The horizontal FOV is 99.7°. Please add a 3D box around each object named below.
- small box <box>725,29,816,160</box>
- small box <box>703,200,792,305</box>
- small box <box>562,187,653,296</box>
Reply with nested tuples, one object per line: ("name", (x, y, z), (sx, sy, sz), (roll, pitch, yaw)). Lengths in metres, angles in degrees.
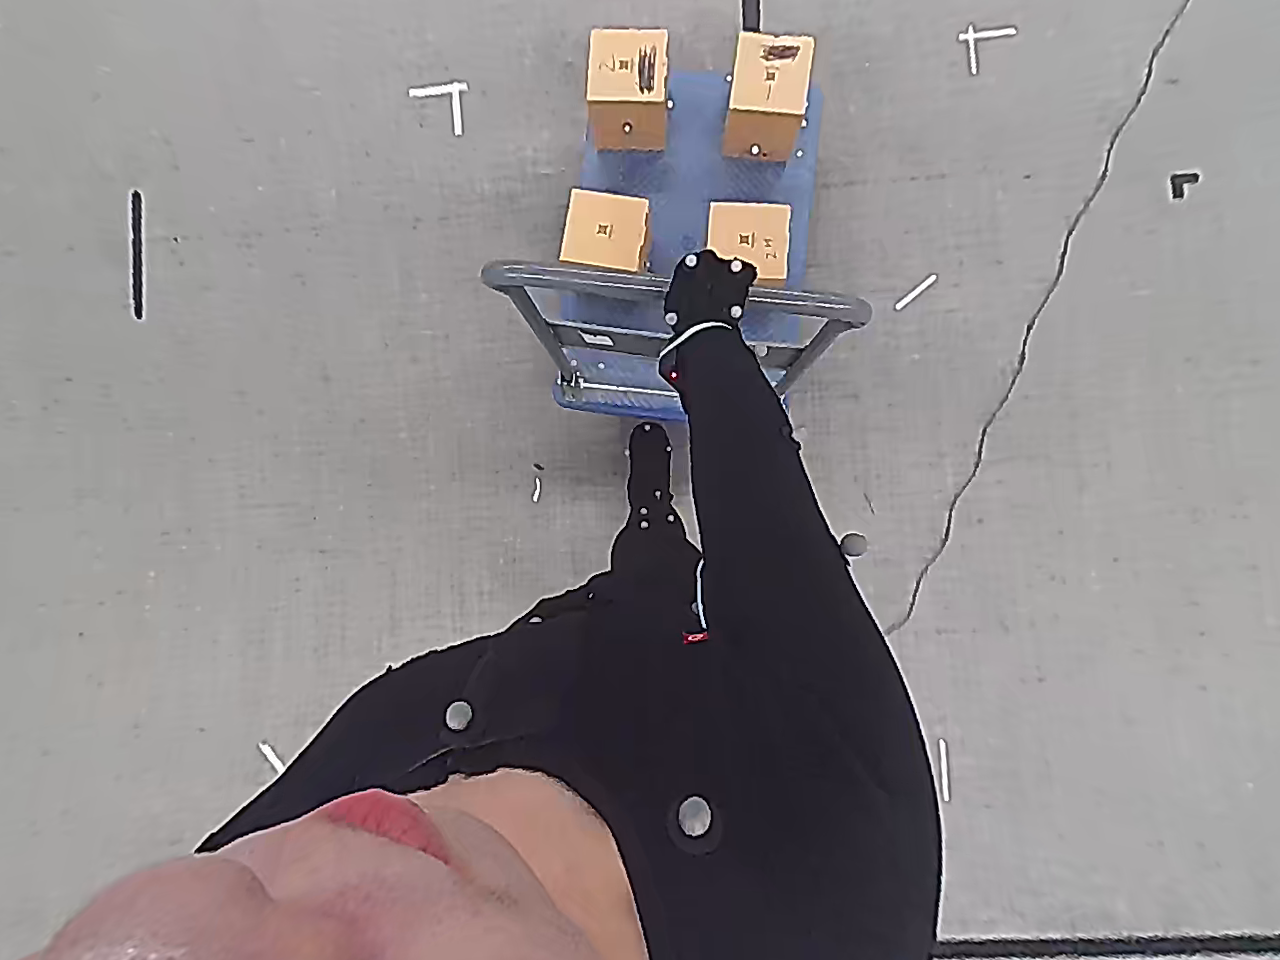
("small box", (0.292, -0.883, 1.249), (0.168, 0.176, 0.179), (8, 89, 4))
("small box", (0.238, -0.512, 1.234), (0.179, 0.176, 0.168), (4, 88, 4))
("small box", (-0.069, -0.544, 1.254), (0.179, 0.176, 0.168), (9, 88, 2))
